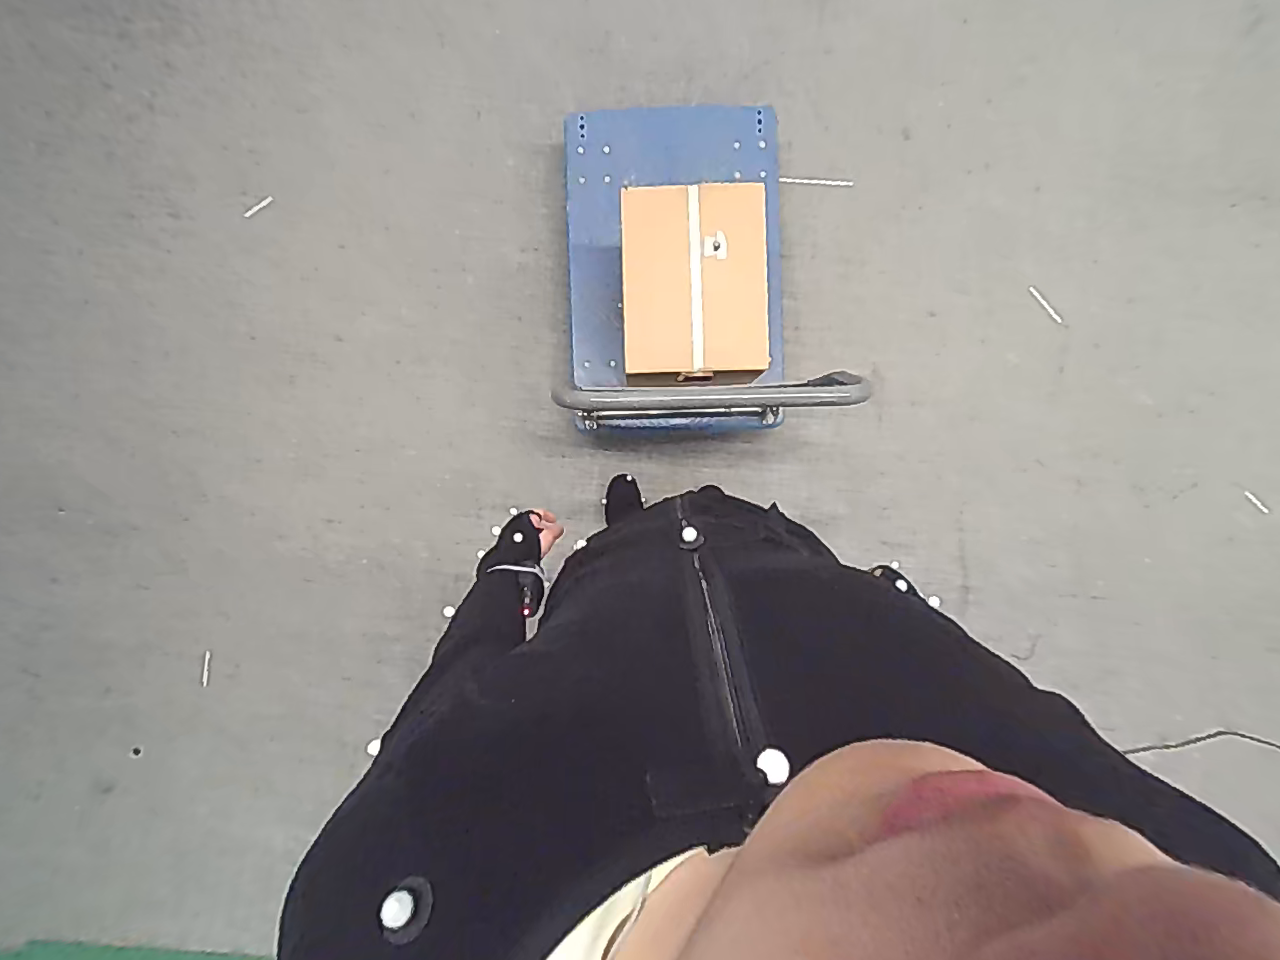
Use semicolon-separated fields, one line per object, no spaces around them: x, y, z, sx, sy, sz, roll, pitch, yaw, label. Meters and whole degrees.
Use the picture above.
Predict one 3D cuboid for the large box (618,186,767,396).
0.116;-0.433;1.323;0.320;0.320;0.408;-2;90;0;large box
